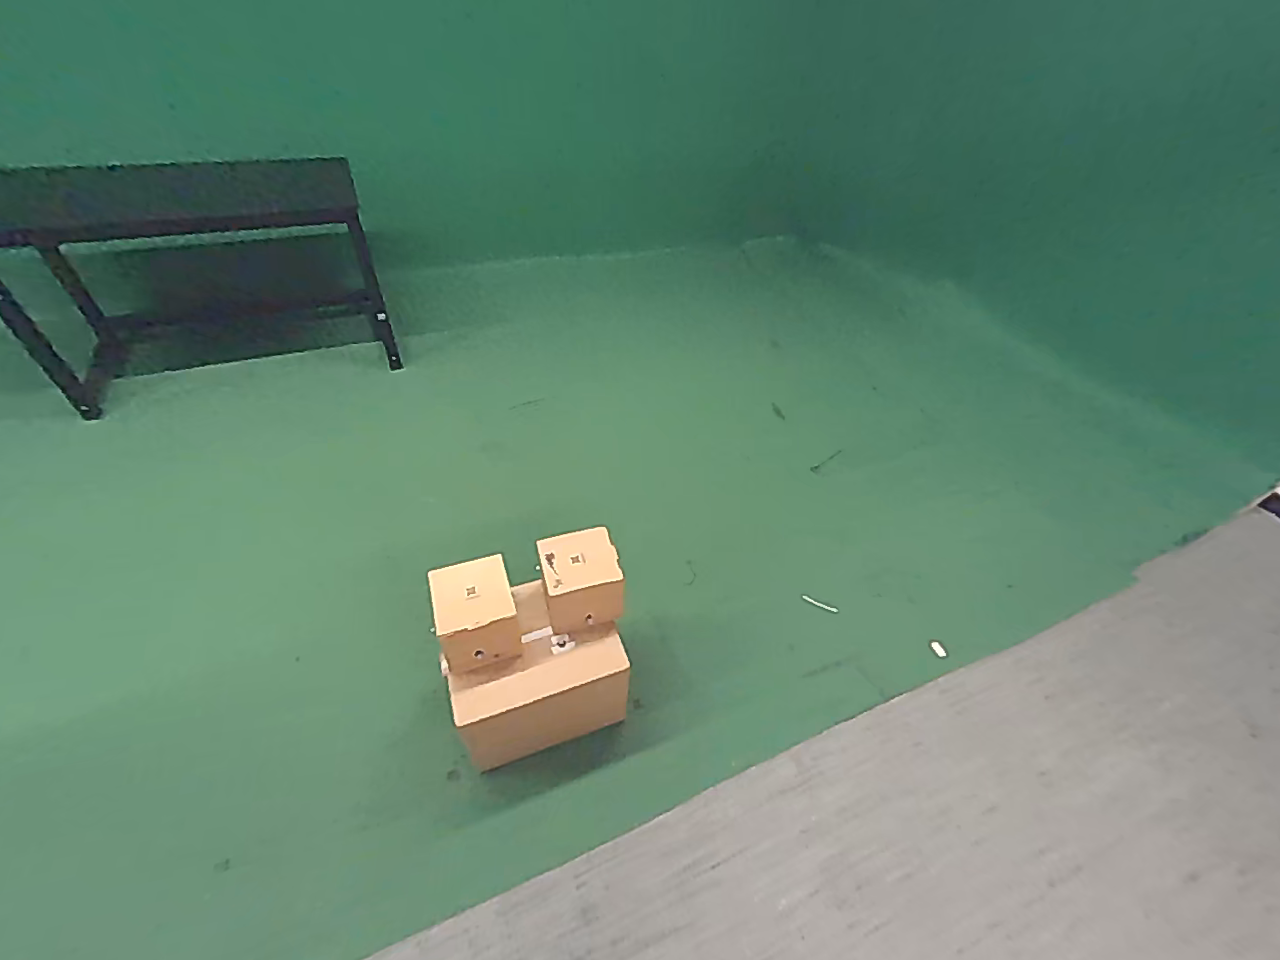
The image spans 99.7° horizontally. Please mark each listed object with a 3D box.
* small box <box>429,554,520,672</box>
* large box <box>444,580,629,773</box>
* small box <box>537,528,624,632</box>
[{"bbox_3d":[-0.375,0.302,1.231,0.168,0.176,0.179,-13,47,-19],"label":"small box"},{"bbox_3d":[-0.275,0.485,1.402,0.408,0.320,0.320,-13,48,-19],"label":"large box"},{"bbox_3d":[-0.146,0.243,1.310,0.179,0.176,0.168,-10,46,-15],"label":"small box"}]
